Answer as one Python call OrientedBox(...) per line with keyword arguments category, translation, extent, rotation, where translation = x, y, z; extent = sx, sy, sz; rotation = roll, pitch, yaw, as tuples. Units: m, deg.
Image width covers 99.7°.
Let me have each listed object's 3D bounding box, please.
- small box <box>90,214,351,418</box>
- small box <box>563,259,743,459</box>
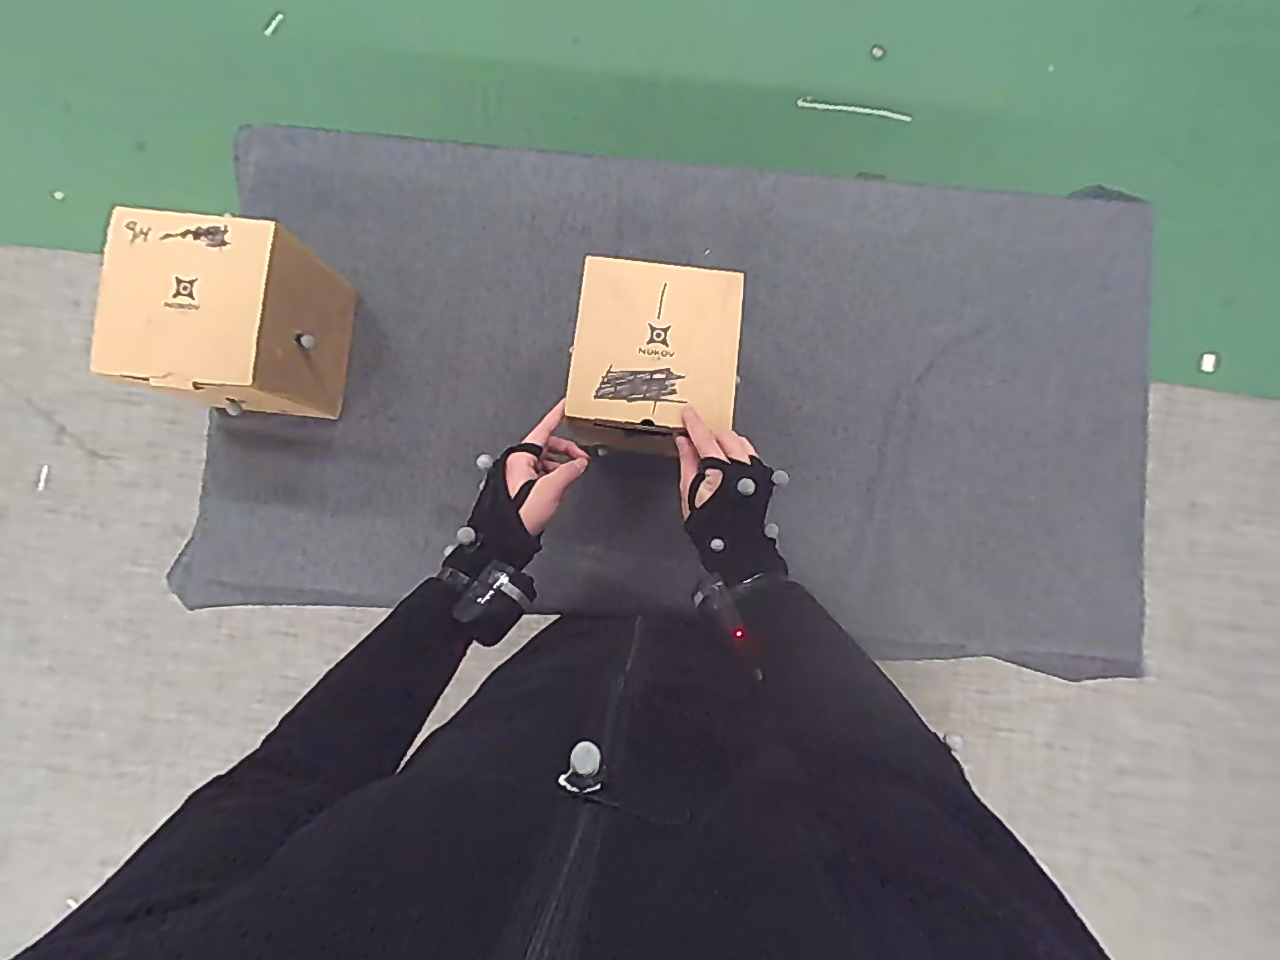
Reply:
OrientedBox(category="small box", translation=(-0.458, -0.171, 0.619), extent=(0.168, 0.176, 0.179), rotation=(5, 87, -2))
OrientedBox(category="small box", translation=(0.014, -0.123, 0.620), extent=(0.168, 0.176, 0.179), rotation=(7, 85, 0))
